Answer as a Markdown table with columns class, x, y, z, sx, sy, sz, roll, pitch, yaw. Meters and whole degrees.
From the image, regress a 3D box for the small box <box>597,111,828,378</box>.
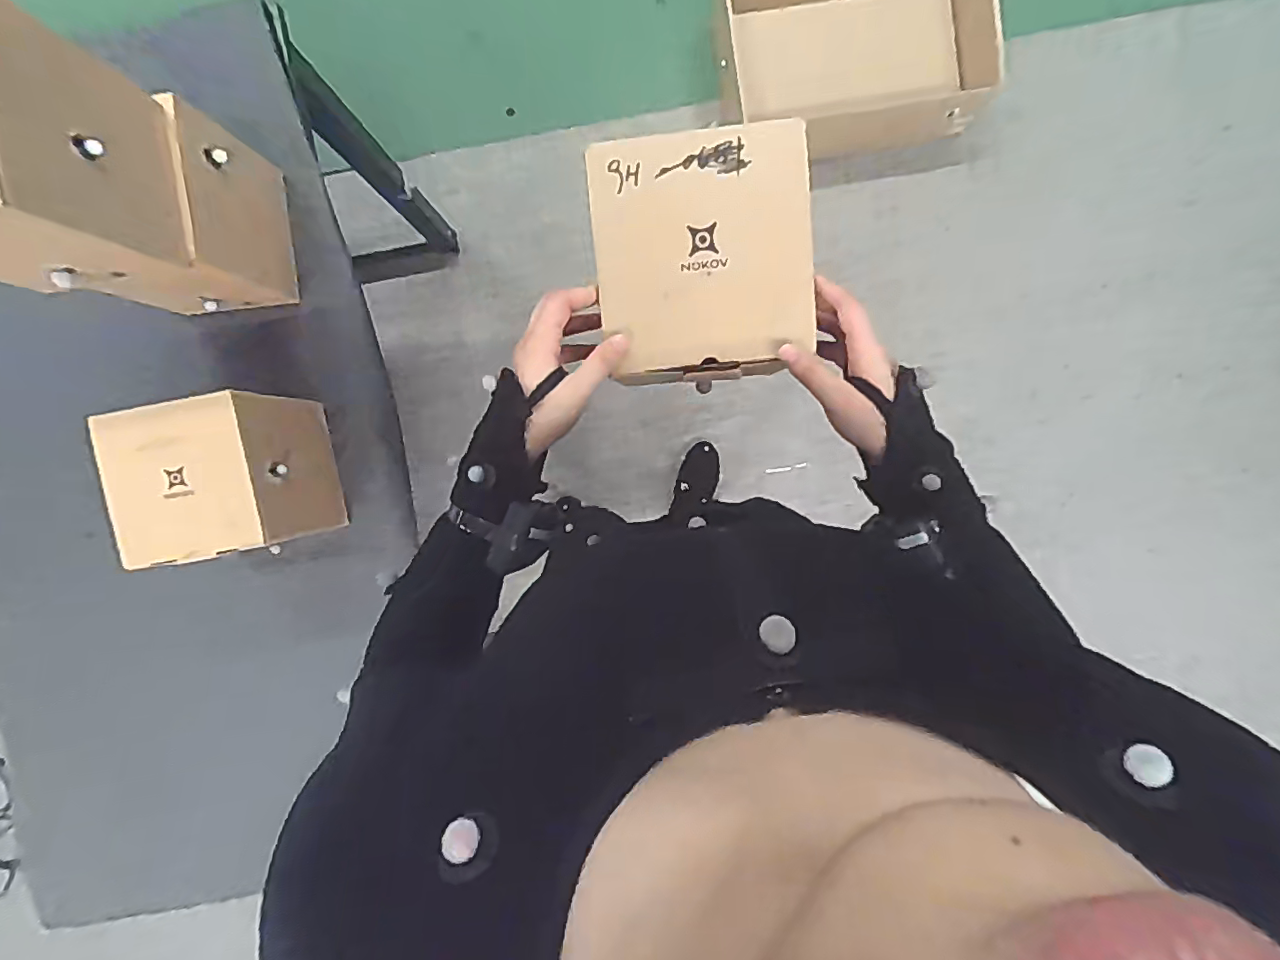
| class | x | y | z | sx | sy | sz | roll | pitch | yaw |
| --- | --- | --- | --- | --- | --- | --- | --- | --- | --- |
| small box | 0.060 | -0.186 | 0.483 | 0.168 | 0.176 | 0.179 | -5 | 98 | 3 |

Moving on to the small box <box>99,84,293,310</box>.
| class | x | y | z | sx | sy | sz | roll | pitch | yaw |
| --- | --- | --- | --- | --- | --- | --- | --- | --- | --- |
| small box | -0.547 | -0.313 | 0.633 | 0.168 | 0.176 | 0.179 | -6 | 95 | 2 |

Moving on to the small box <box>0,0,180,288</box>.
| class | x | y | z | sx | sy | sz | roll | pitch | yaw |
| --- | --- | --- | --- | --- | --- | --- | --- | --- | --- |
| small box | -0.560 | -0.285 | 0.471 | 0.168 | 0.176 | 0.179 | -7 | 95 | 2 |

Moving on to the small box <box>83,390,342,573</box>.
| class | x | y | z | sx | sy | sz | roll | pitch | yaw |
| --- | --- | --- | --- | --- | --- | --- | --- | --- | --- |
| small box | -0.496 | -0.002 | 0.658 | 0.168 | 0.176 | 0.179 | -11 | 93 | 1 |
